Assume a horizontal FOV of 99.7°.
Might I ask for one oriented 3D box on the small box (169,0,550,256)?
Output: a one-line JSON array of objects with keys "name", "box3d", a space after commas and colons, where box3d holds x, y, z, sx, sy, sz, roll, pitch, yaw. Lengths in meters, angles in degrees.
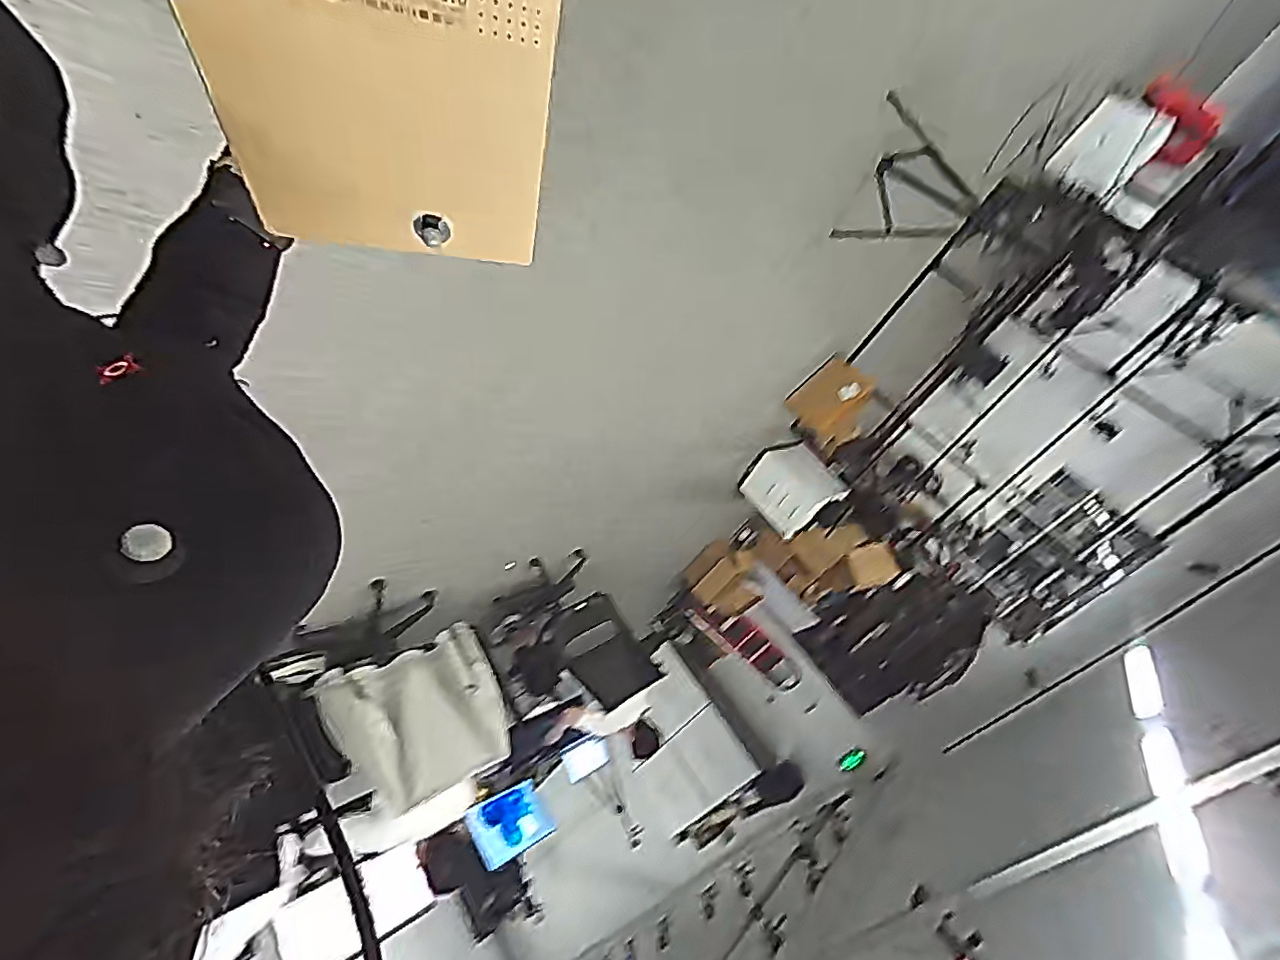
[{"name": "small box", "box3d": [-0.143, -0.267, 0.316, 0.168, 0.179, 0.176, 0, 155, -15]}]
